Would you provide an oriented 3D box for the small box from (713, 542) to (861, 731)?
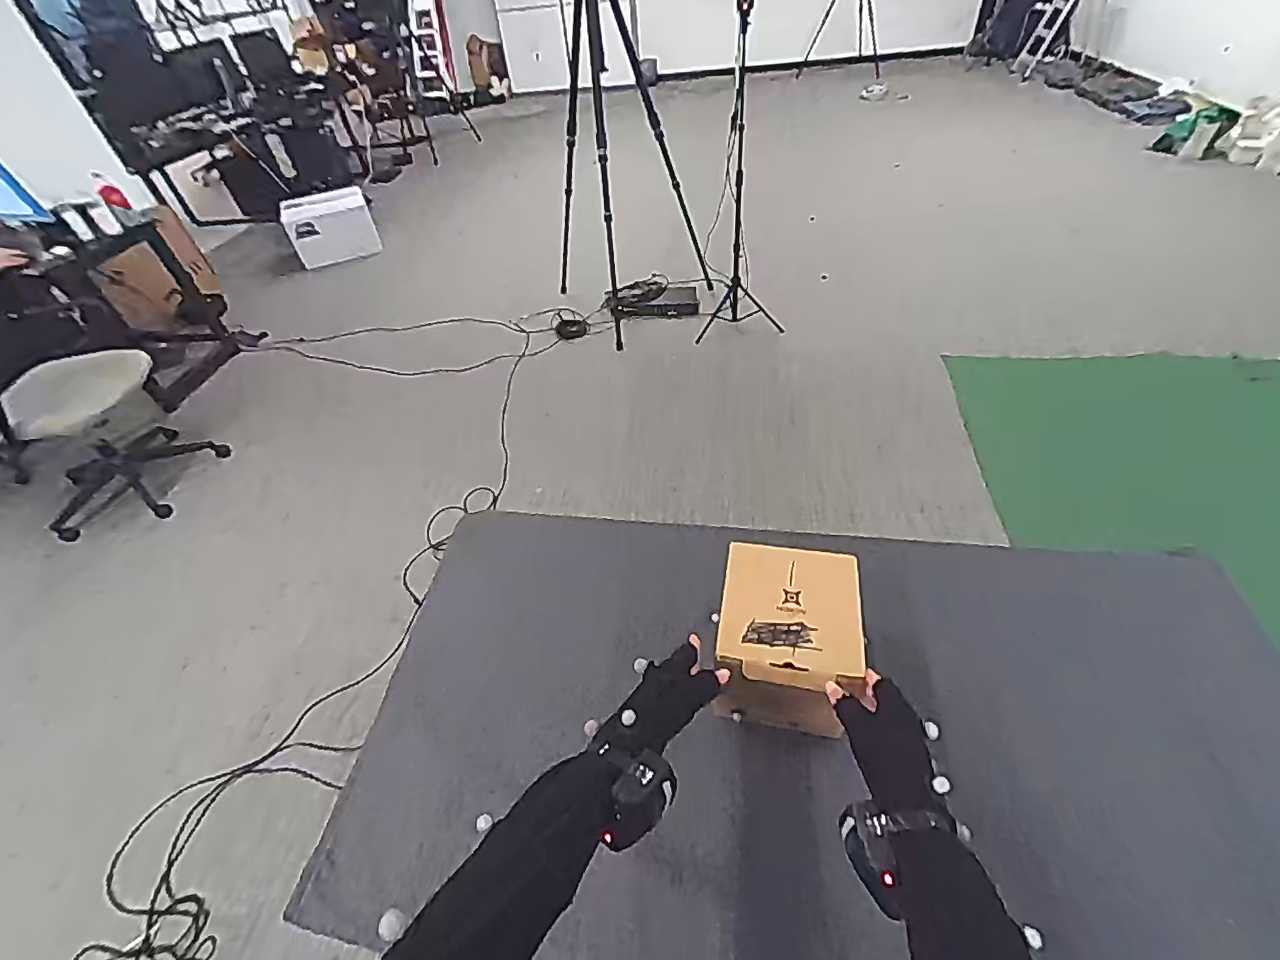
[{"bbox_3d":[0.191,0.209,0.721,0.168,0.176,0.179,5,46,12],"label":"small box"}]
